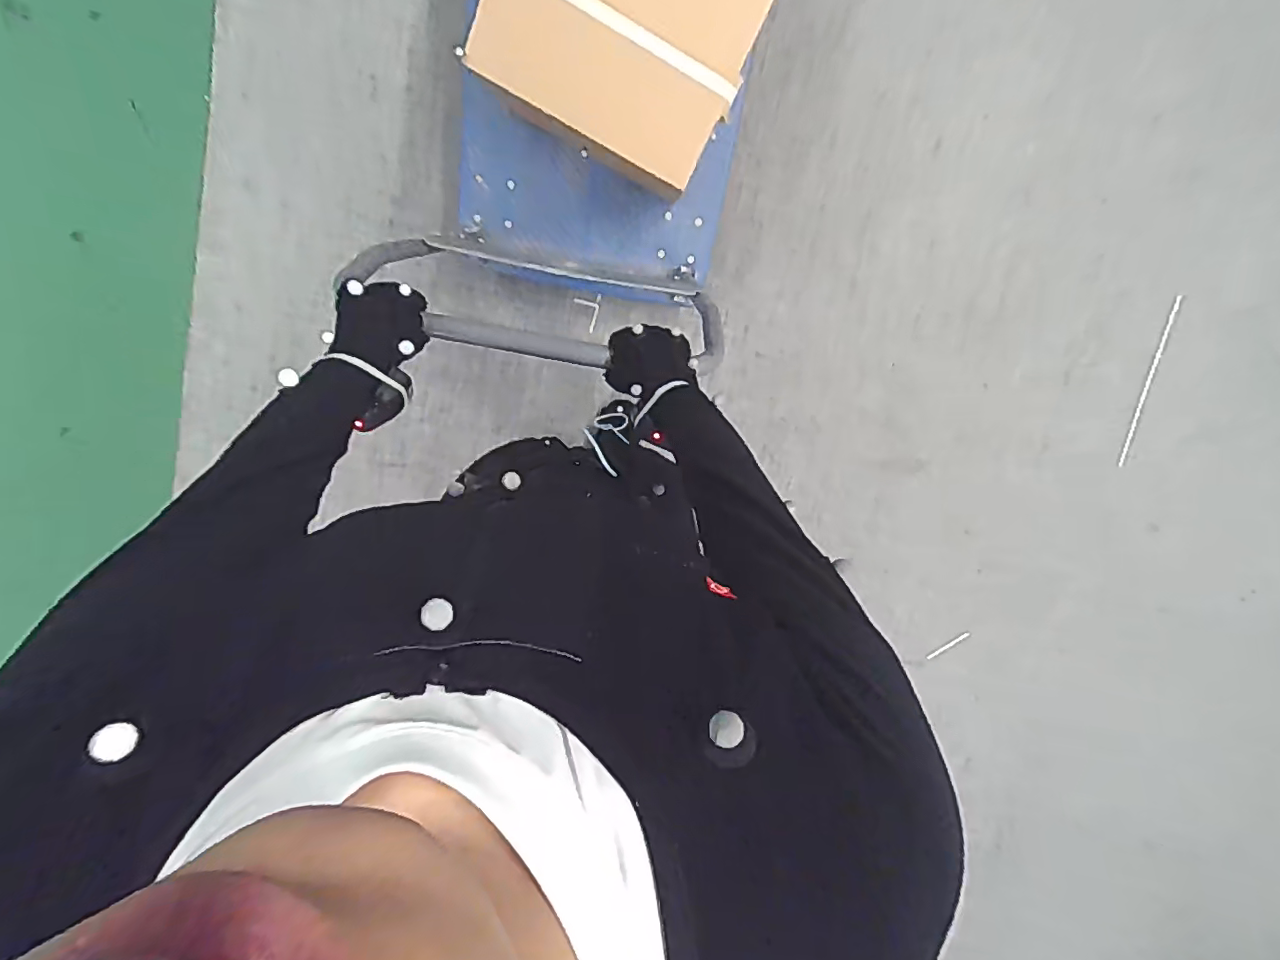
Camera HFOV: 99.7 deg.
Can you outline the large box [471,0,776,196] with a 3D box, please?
[{"bbox_3d":[-0.021,-0.762,0.971,0.408,0.320,0.320,25,112,-9],"label":"large box"}]
